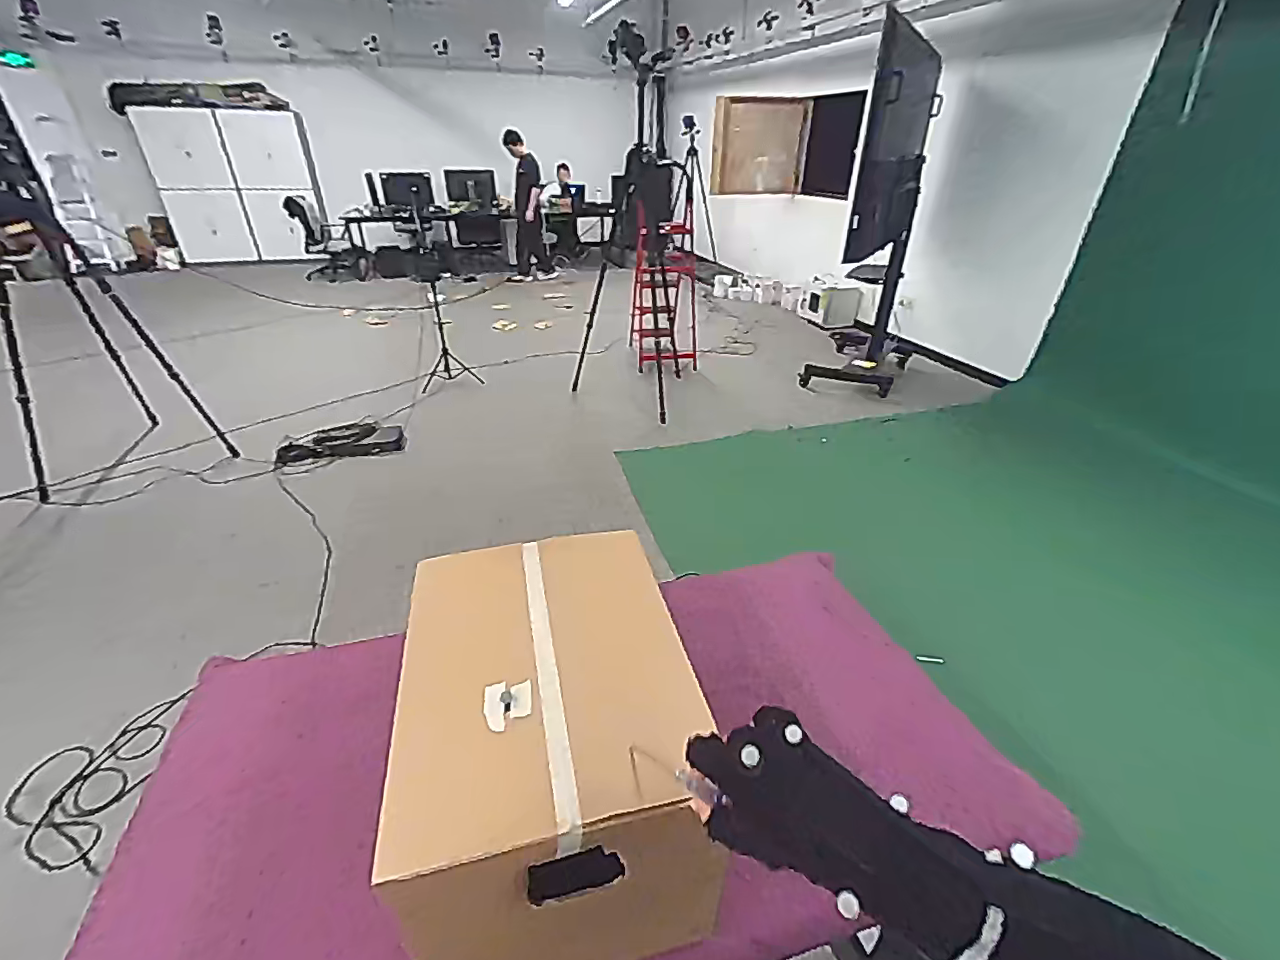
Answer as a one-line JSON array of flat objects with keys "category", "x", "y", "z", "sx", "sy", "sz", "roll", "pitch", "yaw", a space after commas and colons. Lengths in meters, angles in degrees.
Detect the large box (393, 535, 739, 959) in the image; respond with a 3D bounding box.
[{"category": "large box", "x": -0.110, "y": 0.326, "z": 0.710, "sx": 0.320, "sy": 0.320, "sz": 0.408, "roll": -7, "pitch": 33, "yaw": -13}]
